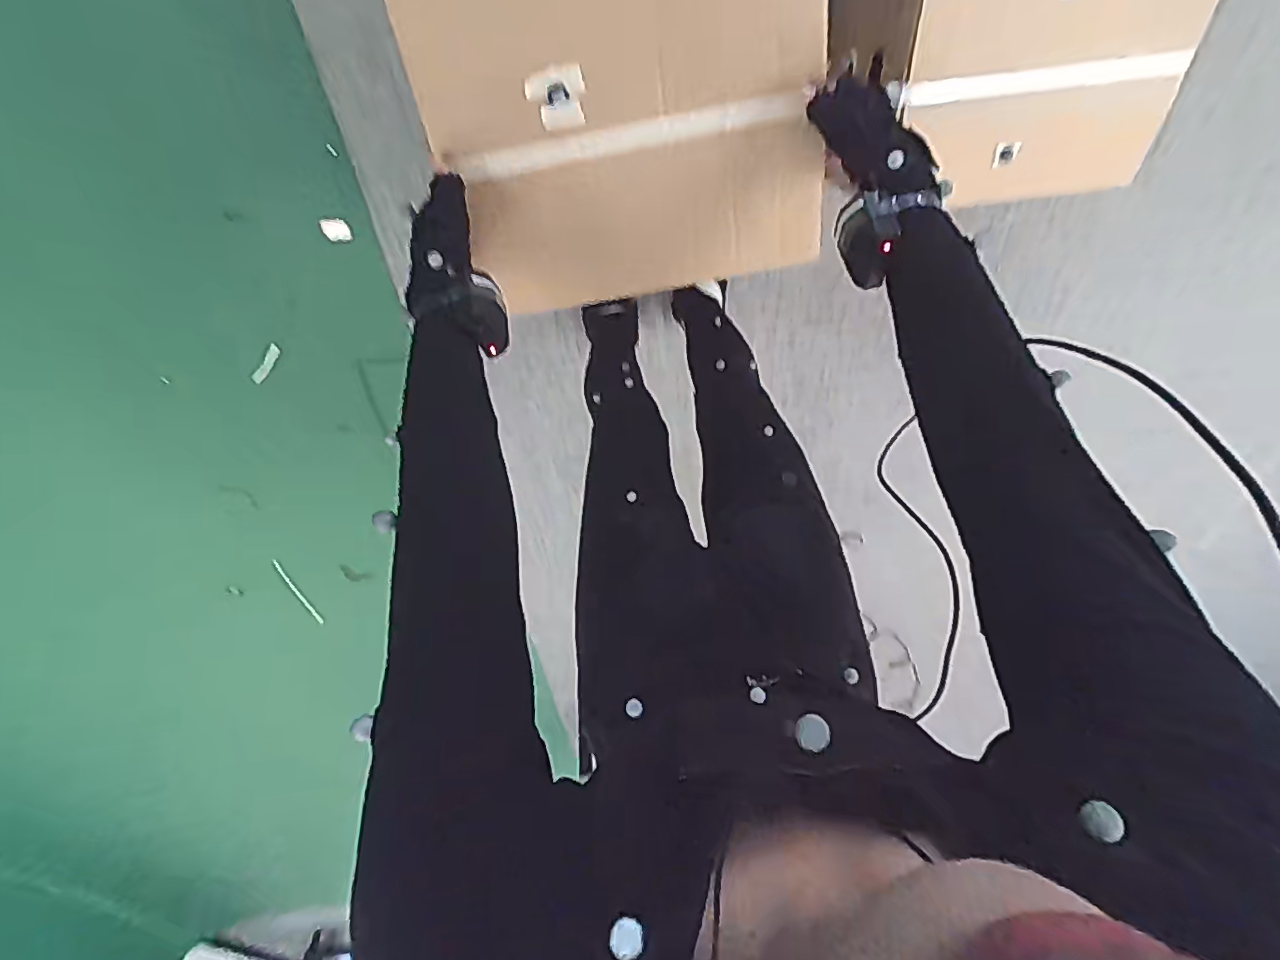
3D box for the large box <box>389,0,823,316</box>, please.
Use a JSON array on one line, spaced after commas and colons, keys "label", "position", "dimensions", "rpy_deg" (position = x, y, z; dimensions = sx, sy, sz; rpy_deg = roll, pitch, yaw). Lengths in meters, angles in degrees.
[{"label": "large box", "position": [-0.018, -0.437, 0.681], "dimensions": [0.408, 0.320, 0.320], "rpy_deg": [-10, 122, 2]}]
